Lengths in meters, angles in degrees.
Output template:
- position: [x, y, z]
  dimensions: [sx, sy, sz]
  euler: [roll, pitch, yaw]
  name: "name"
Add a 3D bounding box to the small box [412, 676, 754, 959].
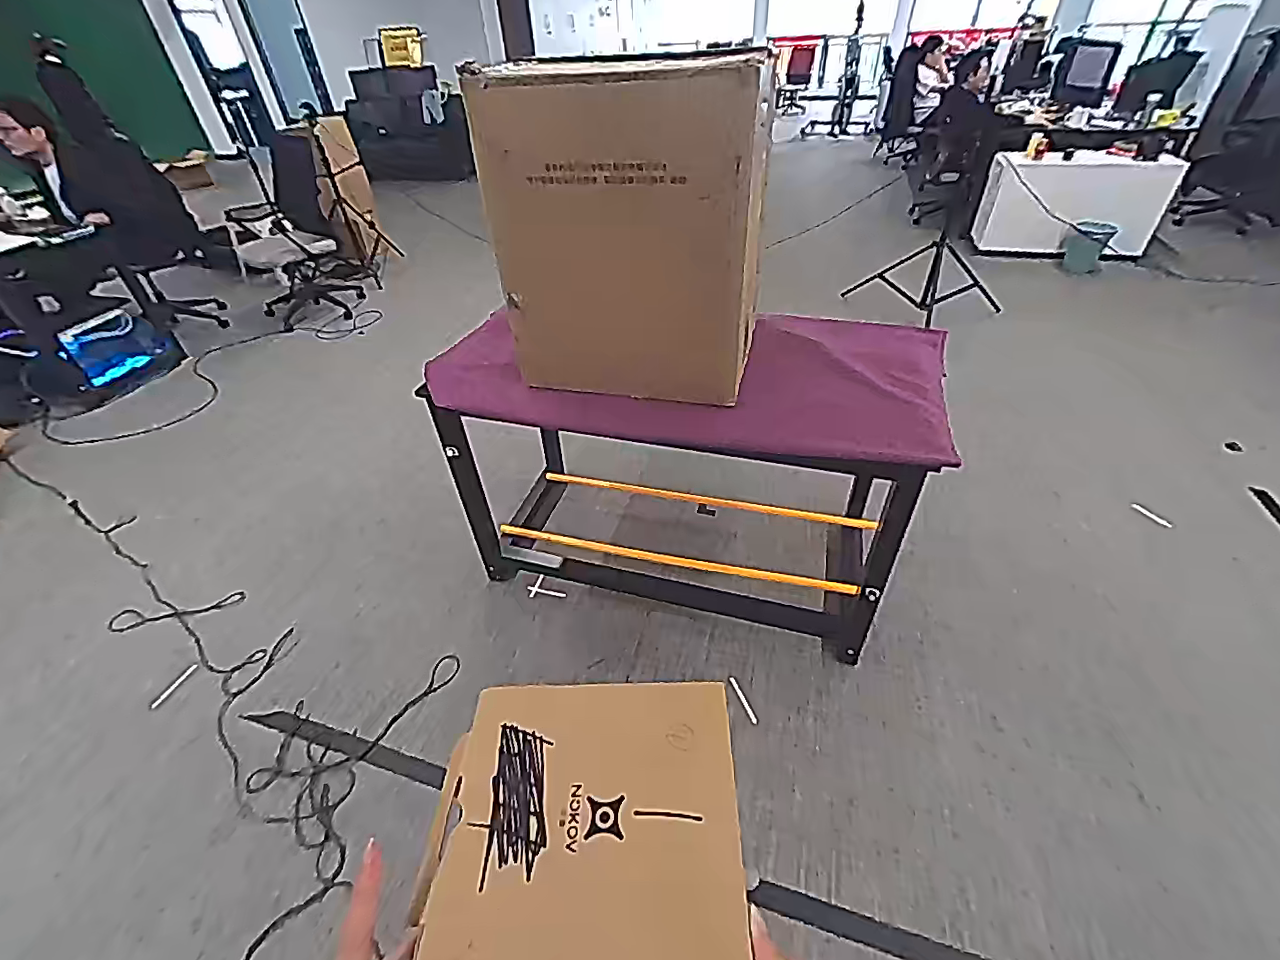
- position: [-0.021, 0.255, 0.373]
  dimensions: [0.179, 0.176, 0.168]
  euler: [-3, 41, 3]
  name: "small box"
